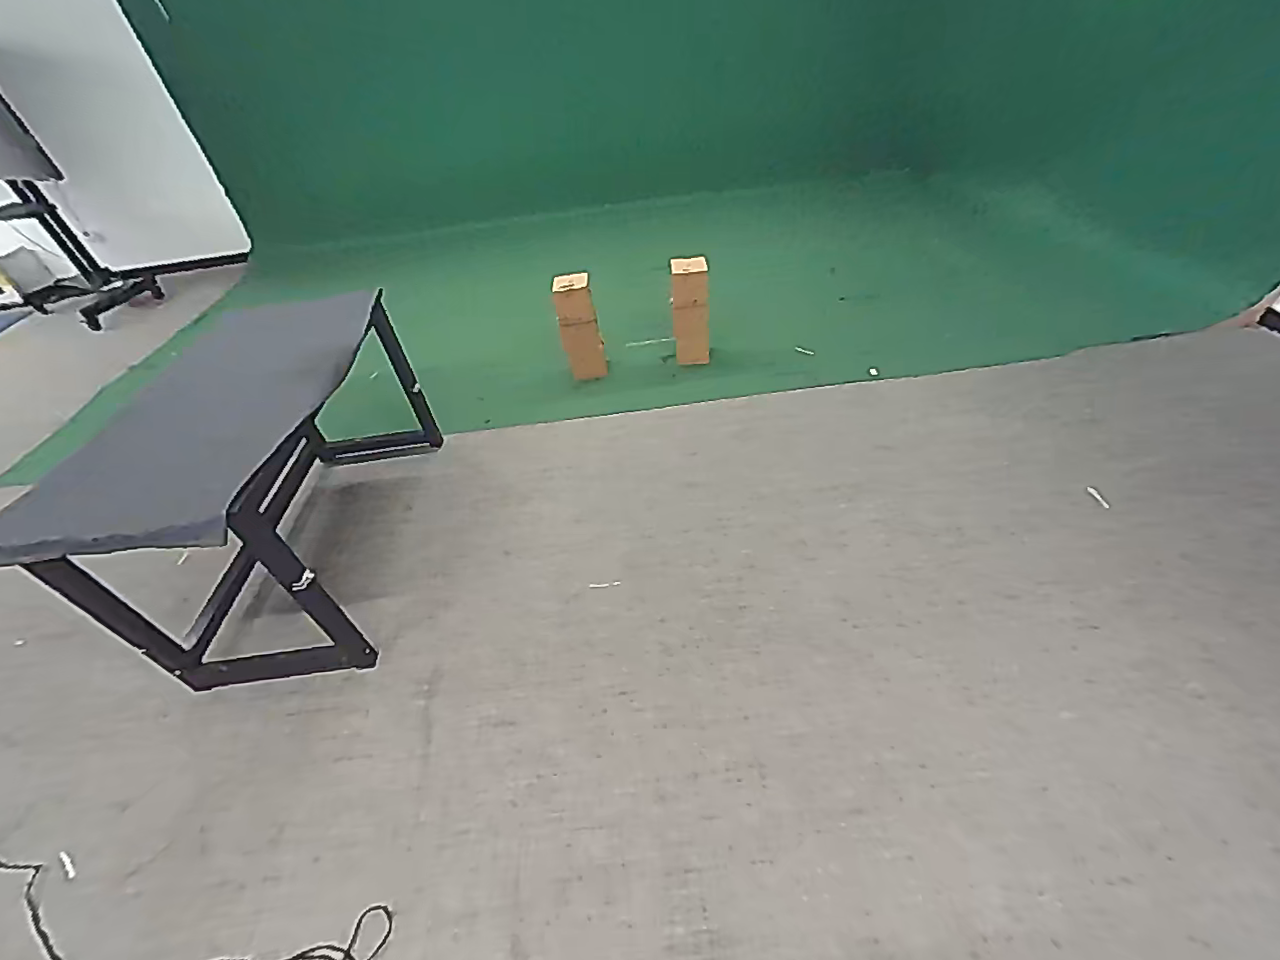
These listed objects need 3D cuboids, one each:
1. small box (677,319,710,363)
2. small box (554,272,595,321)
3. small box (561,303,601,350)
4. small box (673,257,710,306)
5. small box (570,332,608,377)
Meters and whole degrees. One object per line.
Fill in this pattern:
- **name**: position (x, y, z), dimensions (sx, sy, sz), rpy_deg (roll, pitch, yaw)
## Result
- **small box**: position (0.283, -0.726, 2.843), dimensions (0.168, 0.176, 0.179), rpy_deg (-1, 43, 6)
- **small box**: position (-0.310, -0.881, 2.609), dimensions (0.168, 0.176, 0.179), rpy_deg (-7, 43, 2)
- **small box**: position (-0.295, -0.770, 2.730), dimensions (0.179, 0.176, 0.168), rpy_deg (-6, 44, 2)
- **small box**: position (0.246, -0.959, 2.613), dimensions (0.168, 0.176, 0.179), rpy_deg (-4, 42, 3)
- **small box**: position (-0.266, -0.654, 2.840), dimensions (0.179, 0.176, 0.168), rpy_deg (-7, 44, 0)
